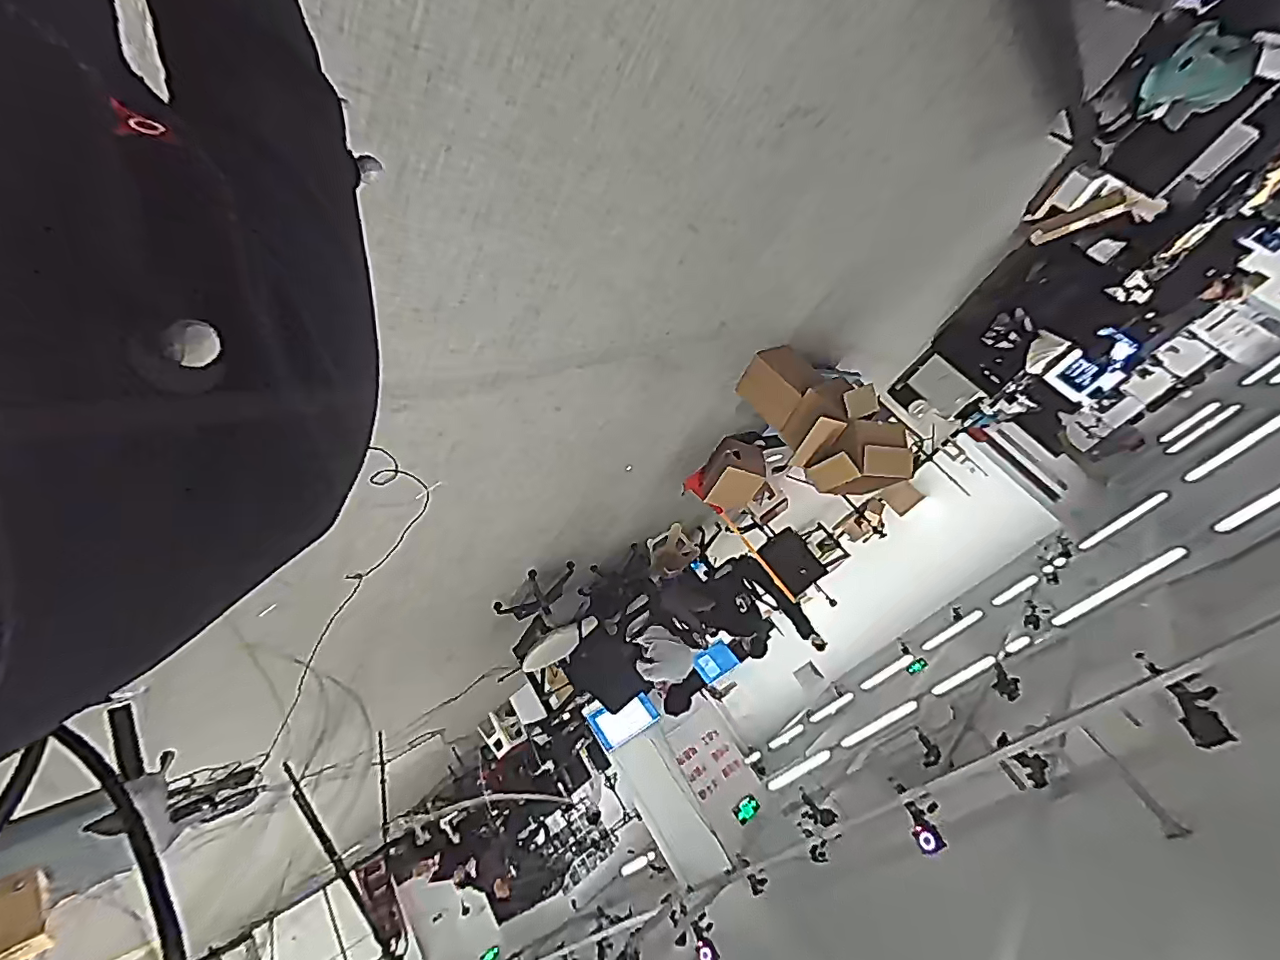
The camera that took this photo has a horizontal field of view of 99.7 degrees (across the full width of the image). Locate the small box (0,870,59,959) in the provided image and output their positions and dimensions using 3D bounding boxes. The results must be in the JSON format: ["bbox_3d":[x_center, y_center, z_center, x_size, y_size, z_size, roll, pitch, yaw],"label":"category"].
[{"bbox_3d":[-1.619,1.138,1.373,0.168,0.176,0.179,-12,147,-46],"label":"small box"}]
